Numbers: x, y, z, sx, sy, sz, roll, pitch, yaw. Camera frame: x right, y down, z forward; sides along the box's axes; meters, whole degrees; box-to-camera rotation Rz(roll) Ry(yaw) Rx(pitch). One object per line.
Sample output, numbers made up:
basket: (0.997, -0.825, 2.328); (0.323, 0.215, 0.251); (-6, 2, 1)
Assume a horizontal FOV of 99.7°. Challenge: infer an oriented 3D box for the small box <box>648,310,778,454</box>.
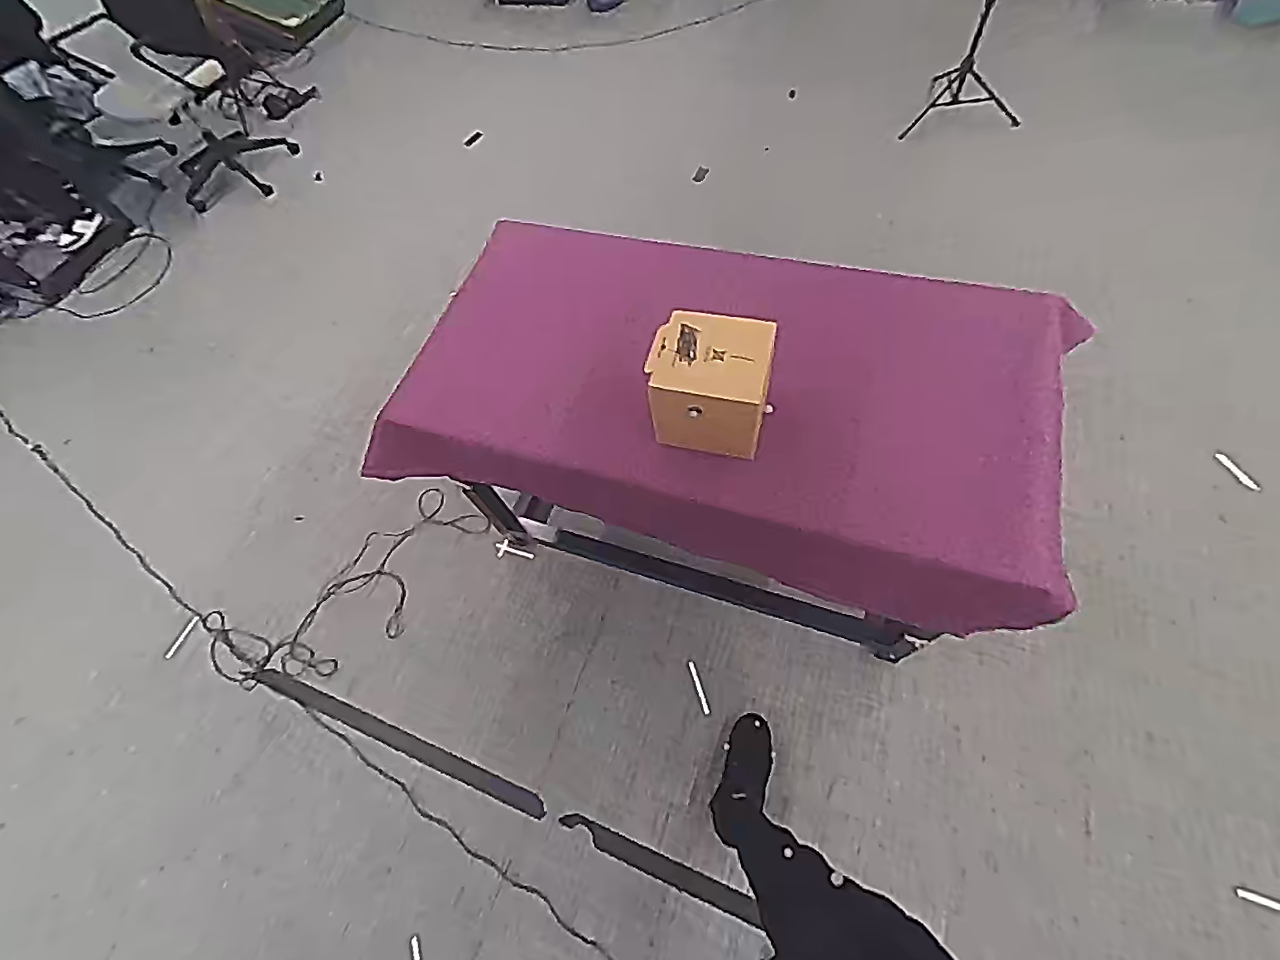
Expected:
small box: (0.126, -0.161, 0.919); (0.179, 0.176, 0.168); (11, 64, 13)
